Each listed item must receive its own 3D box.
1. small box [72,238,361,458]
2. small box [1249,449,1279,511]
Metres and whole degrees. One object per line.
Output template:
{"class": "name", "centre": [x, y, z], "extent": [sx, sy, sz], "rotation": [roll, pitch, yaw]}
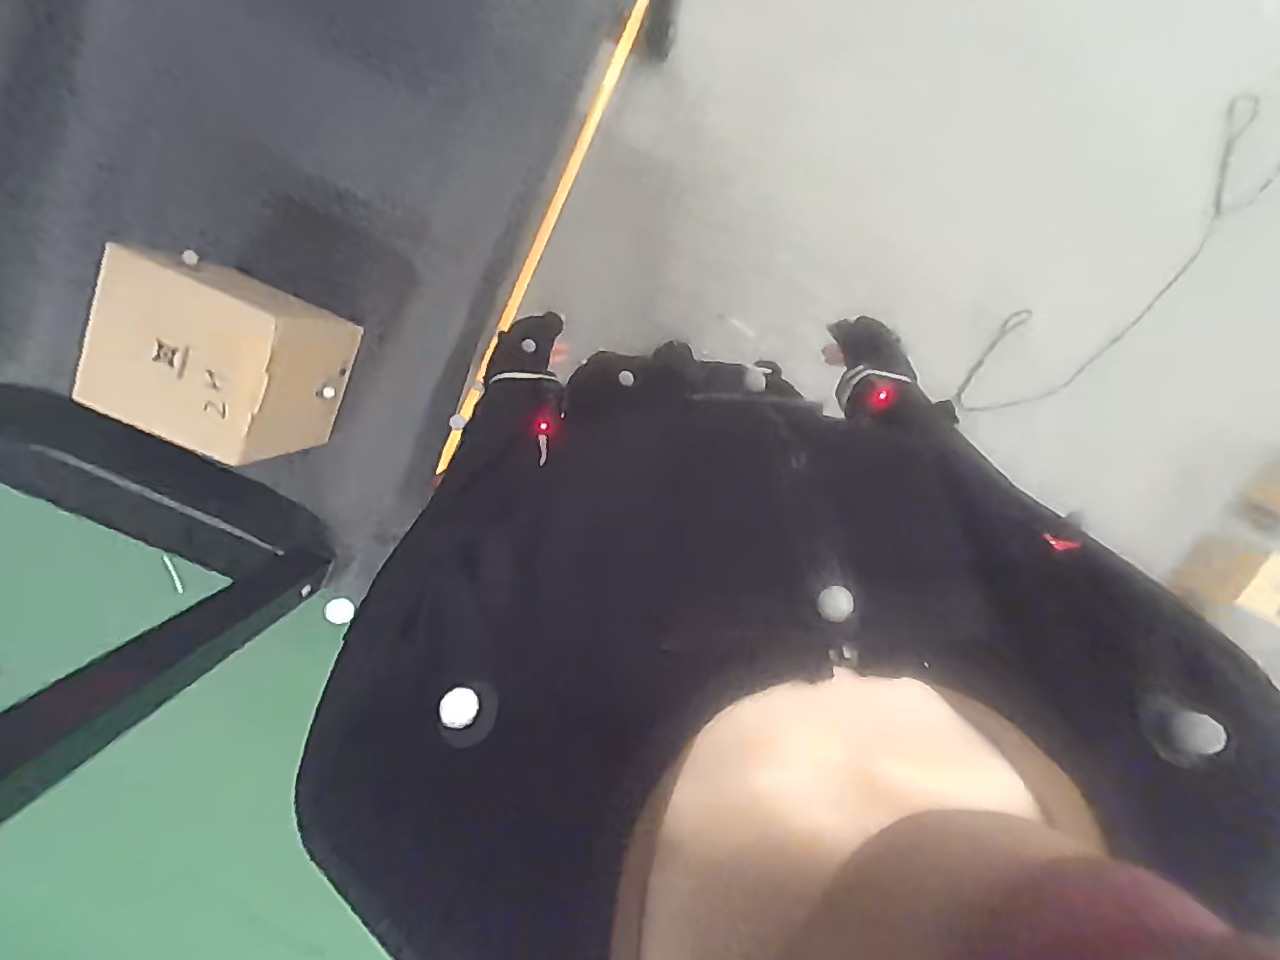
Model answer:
{"class": "small box", "centre": [-0.463, -0.143, 0.617], "extent": [0.179, 0.176, 0.168], "rotation": [24, 102, -5]}
{"class": "small box", "centre": [1.790, 0.017, 1.410], "extent": [0.179, 0.176, 0.168], "rotation": [27, 101, -5]}
